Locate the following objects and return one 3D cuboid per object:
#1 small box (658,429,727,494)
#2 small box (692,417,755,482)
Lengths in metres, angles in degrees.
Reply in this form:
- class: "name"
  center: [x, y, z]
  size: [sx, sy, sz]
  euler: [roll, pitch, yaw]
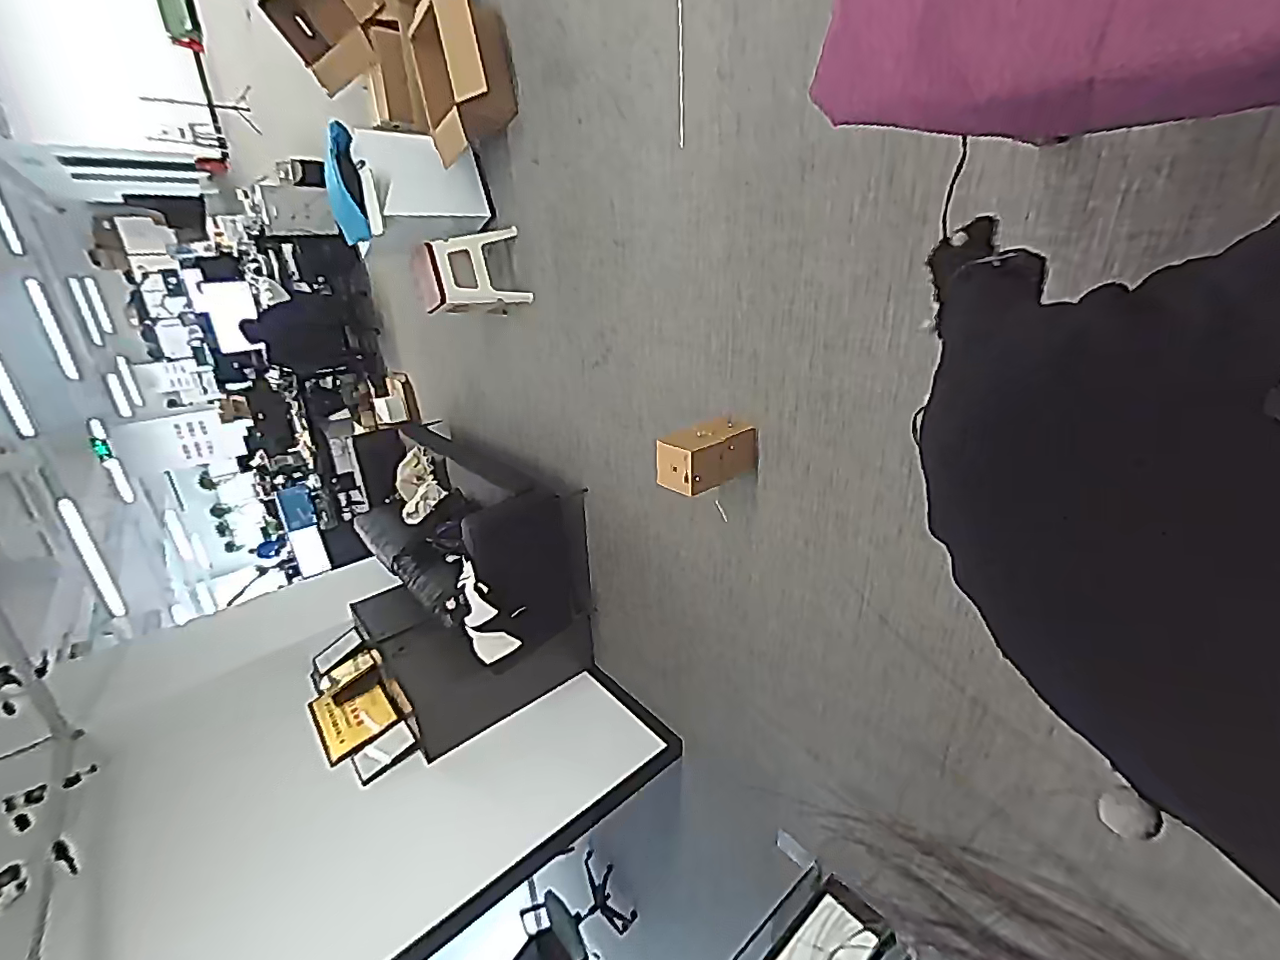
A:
- class: "small box"
  center: [0.181, -0.072, 1.891]
  size: [0.179, 0.176, 0.168]
  euler: [24, 124, 46]
- class: "small box"
  center: [0.306, -0.117, 1.987]
  size: [0.168, 0.176, 0.179]
  euler: [23, 123, 45]
